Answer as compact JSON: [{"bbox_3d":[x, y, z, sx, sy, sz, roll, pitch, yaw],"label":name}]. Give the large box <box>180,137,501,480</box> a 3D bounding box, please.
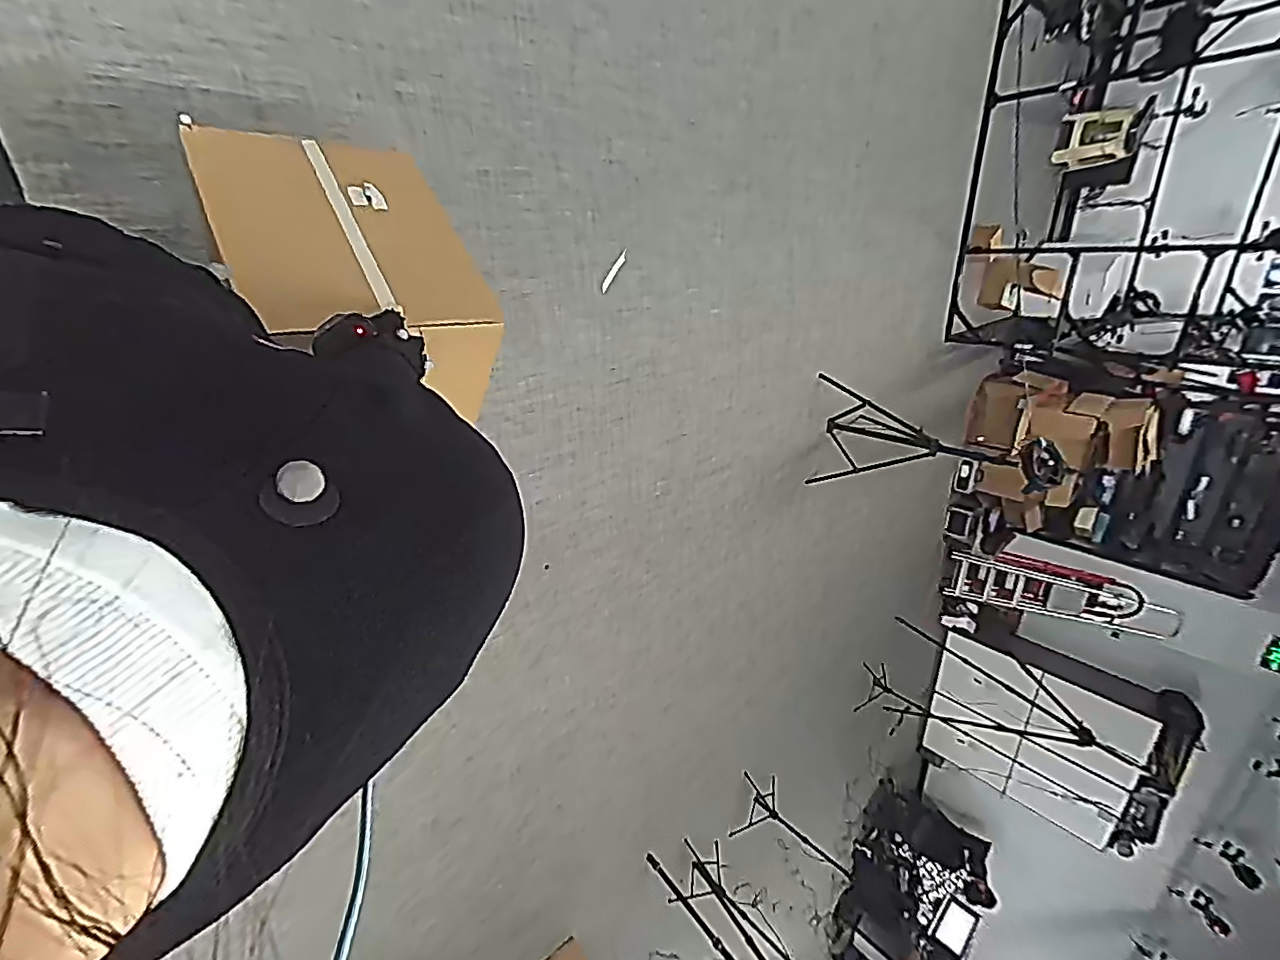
[{"bbox_3d":[-0.480,-0.270,0.882,0.320,0.408,0.320,-16,155,-38],"label":"large box"}]
